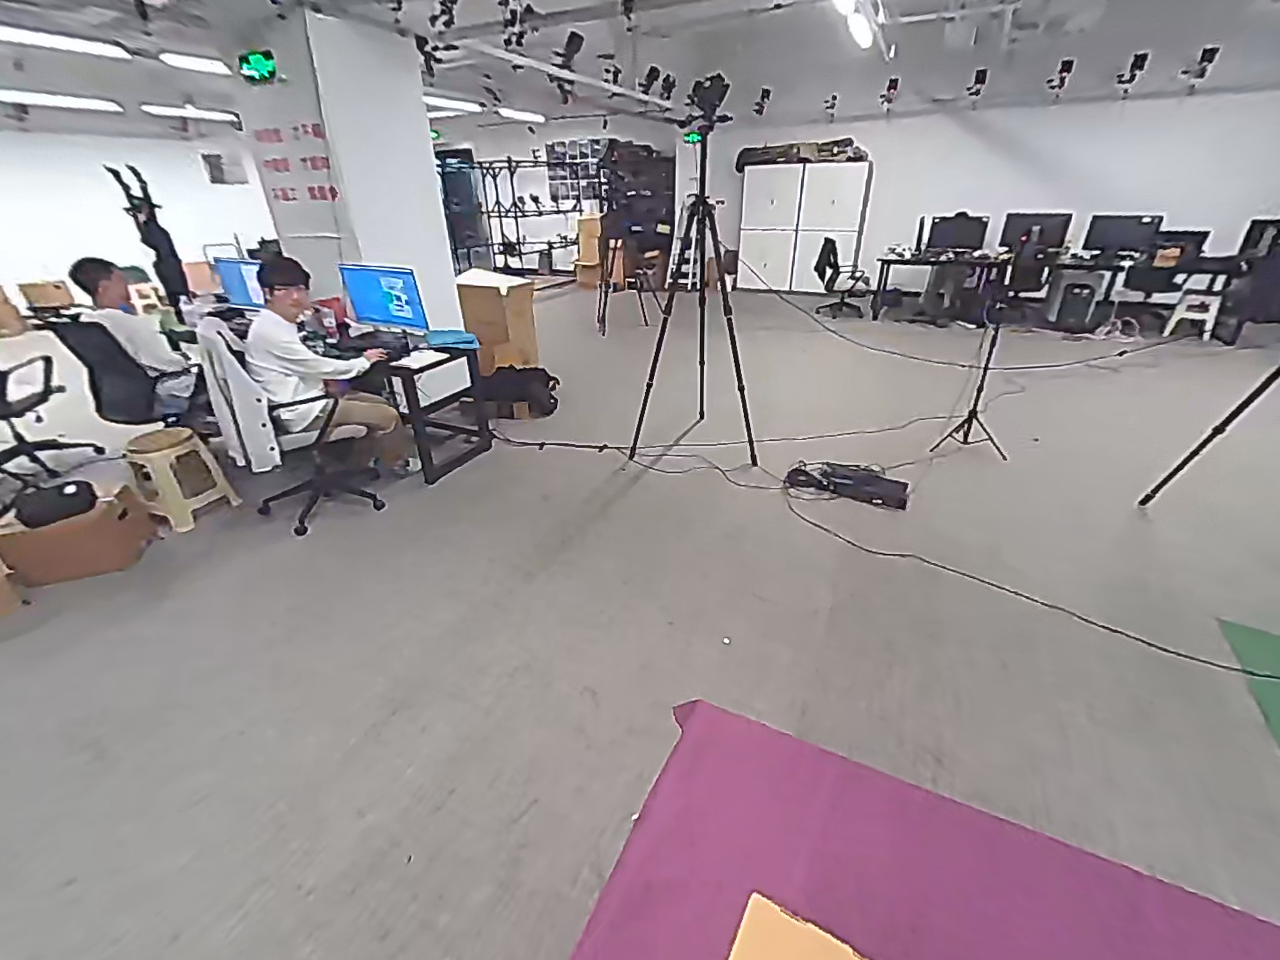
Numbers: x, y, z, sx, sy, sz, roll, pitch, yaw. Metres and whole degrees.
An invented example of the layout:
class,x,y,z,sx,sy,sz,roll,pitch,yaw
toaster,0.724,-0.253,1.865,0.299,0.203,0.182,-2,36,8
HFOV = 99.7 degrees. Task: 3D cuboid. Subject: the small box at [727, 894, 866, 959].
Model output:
class,x,y,z,sx,sy,sz,roll,pitch,yaw
small box,0.149,0.566,0.514,0.168,0.176,0.179,14,31,28
